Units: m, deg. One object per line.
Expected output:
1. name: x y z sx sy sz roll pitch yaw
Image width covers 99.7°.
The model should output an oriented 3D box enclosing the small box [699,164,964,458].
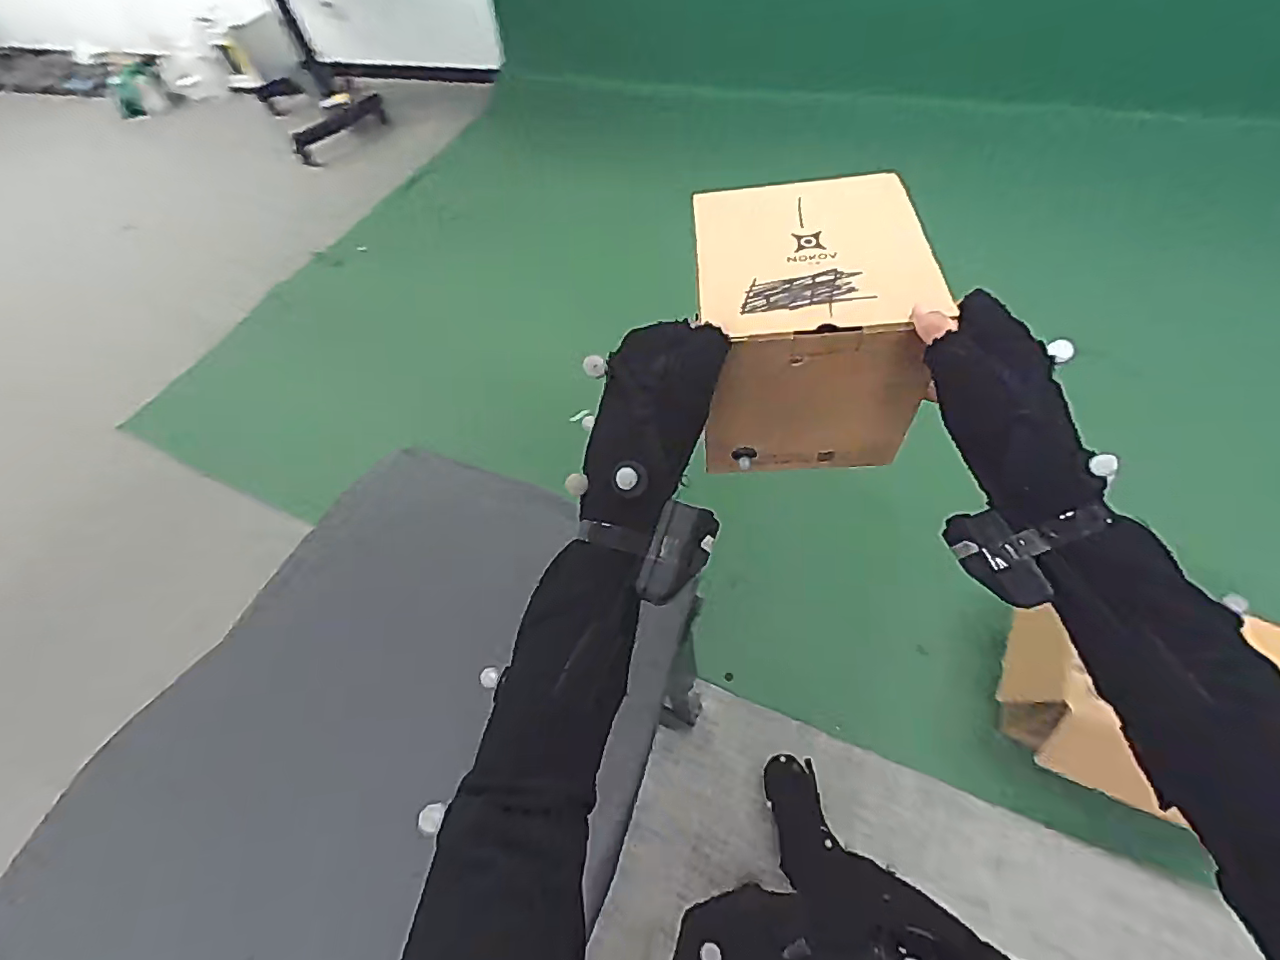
1. small box: 0.137 -0.129 0.457 0.168 0.176 0.179 -2 57 7
